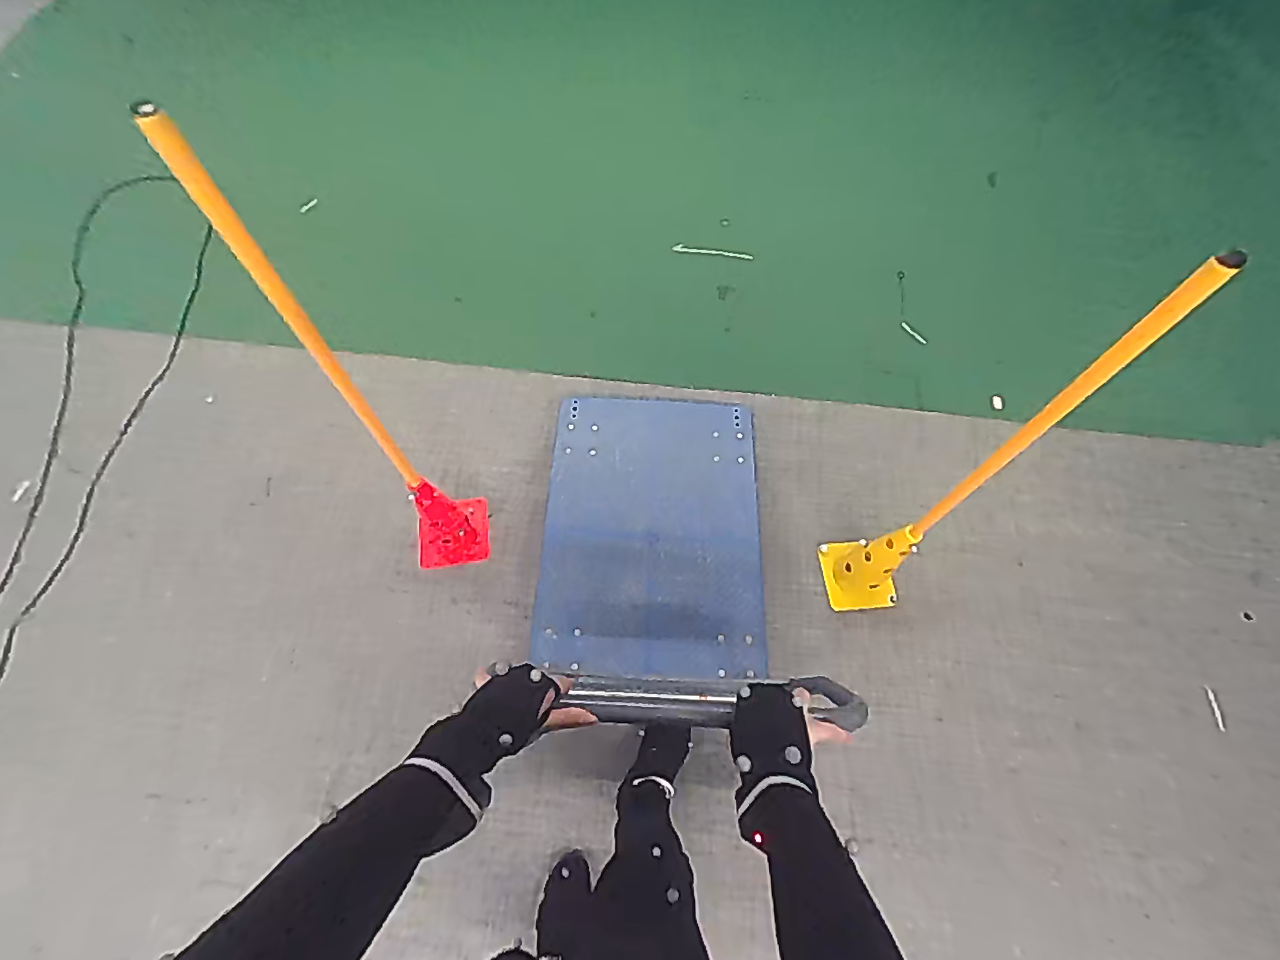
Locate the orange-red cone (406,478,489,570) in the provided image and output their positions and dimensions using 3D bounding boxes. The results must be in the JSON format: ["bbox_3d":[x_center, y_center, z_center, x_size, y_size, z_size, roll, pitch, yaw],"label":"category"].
[{"bbox_3d":[-0.541,0.089,1.432,0.199,0.360,0.198,-8,65,-4],"label":"orange-red cone"}]
